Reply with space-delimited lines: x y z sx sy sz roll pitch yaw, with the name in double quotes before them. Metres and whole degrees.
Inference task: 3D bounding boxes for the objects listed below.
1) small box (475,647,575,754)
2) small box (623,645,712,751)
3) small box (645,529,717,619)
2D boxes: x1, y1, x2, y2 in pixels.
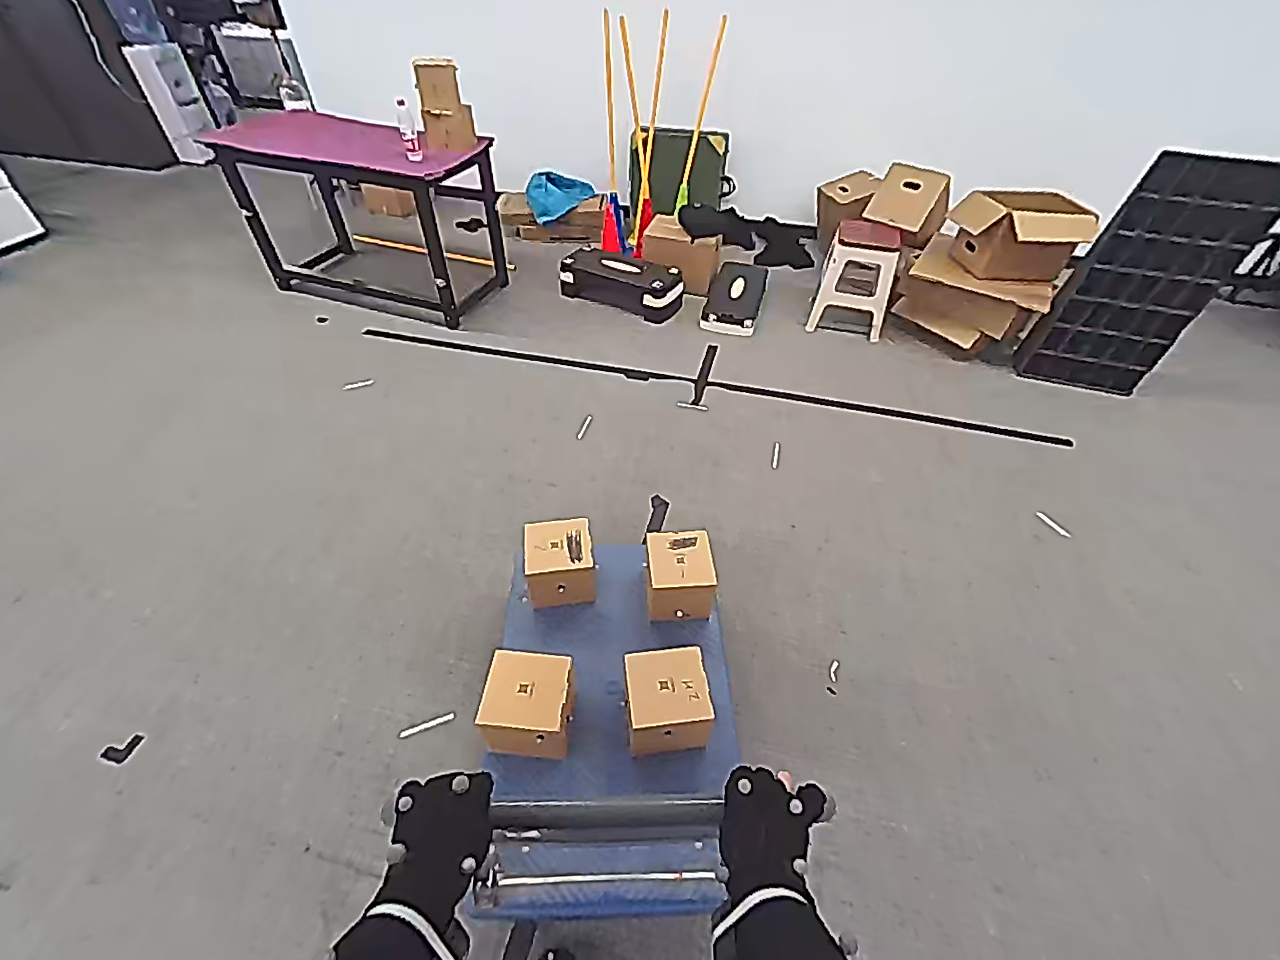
"small box" -0.247 0.495 1.209 0.179 0.176 0.168 5 46 1
"small box" 0.056 0.494 1.220 0.179 0.176 0.168 -4 46 -6
"small box" 0.103 0.253 1.455 0.168 0.176 0.179 -2 47 -4
